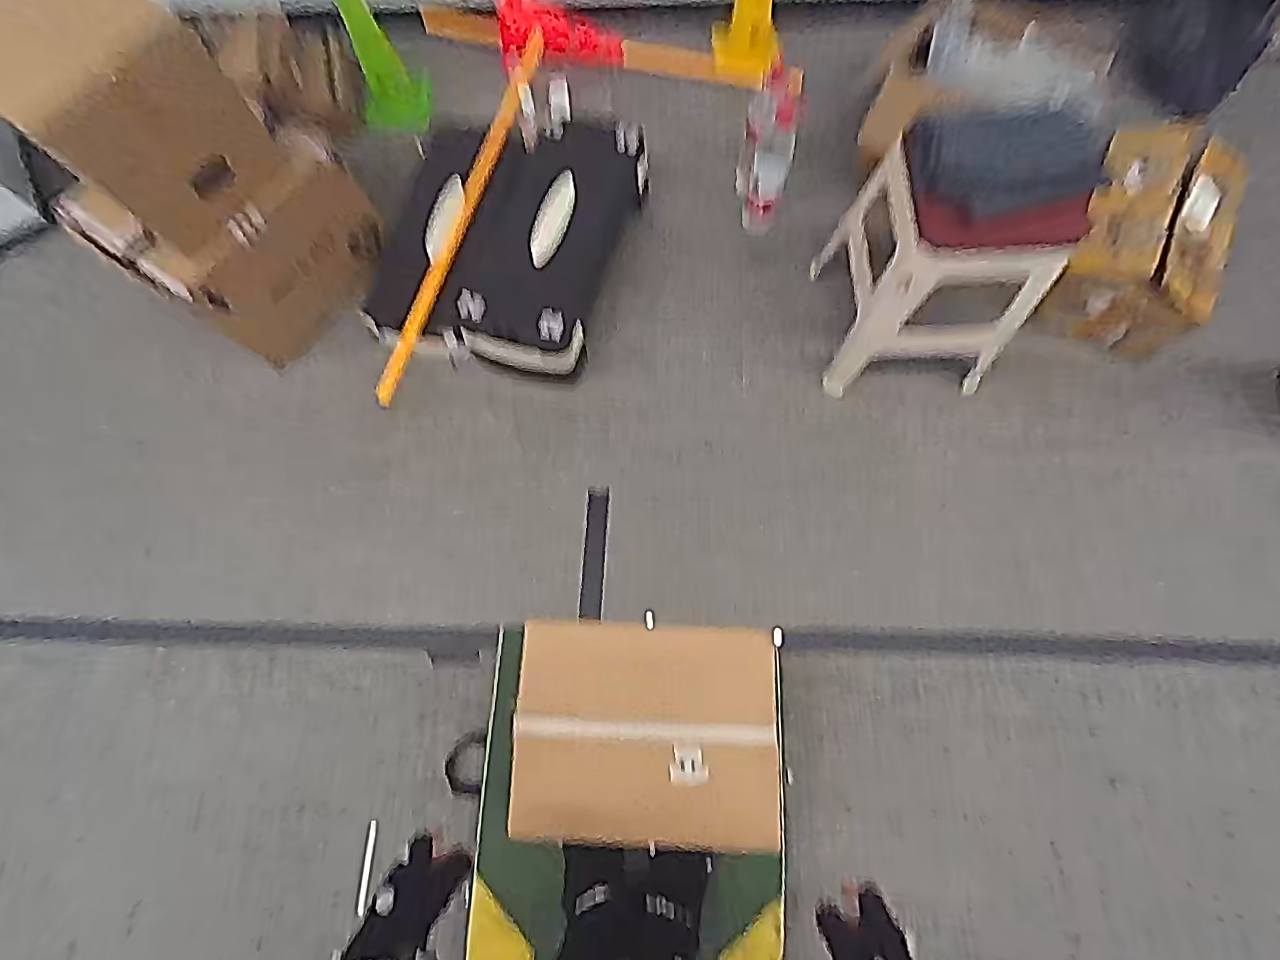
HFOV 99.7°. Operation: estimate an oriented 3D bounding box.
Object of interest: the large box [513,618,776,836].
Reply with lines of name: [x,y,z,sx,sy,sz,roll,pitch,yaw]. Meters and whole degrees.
large box: [0.009,0.424,0.992,0.408,0.320,0.320,2,74,1]
